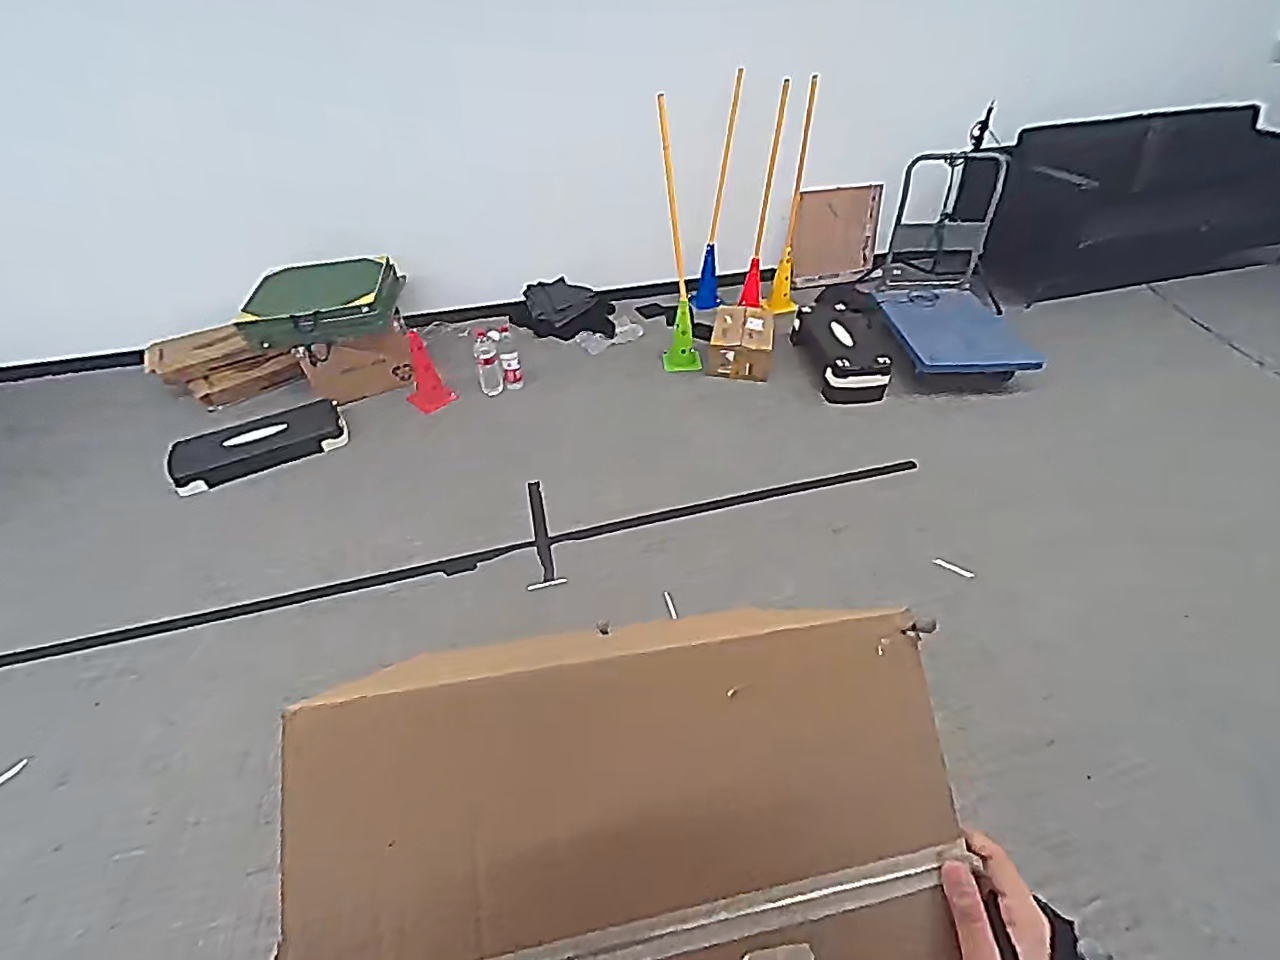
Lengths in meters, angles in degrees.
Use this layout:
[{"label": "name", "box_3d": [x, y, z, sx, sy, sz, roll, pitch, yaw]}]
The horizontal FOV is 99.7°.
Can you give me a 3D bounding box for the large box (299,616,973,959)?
[{"label": "large box", "box_3d": [-0.012, 0.305, 0.470, 0.408, 0.320, 0.320, -6, 79, -11]}]
